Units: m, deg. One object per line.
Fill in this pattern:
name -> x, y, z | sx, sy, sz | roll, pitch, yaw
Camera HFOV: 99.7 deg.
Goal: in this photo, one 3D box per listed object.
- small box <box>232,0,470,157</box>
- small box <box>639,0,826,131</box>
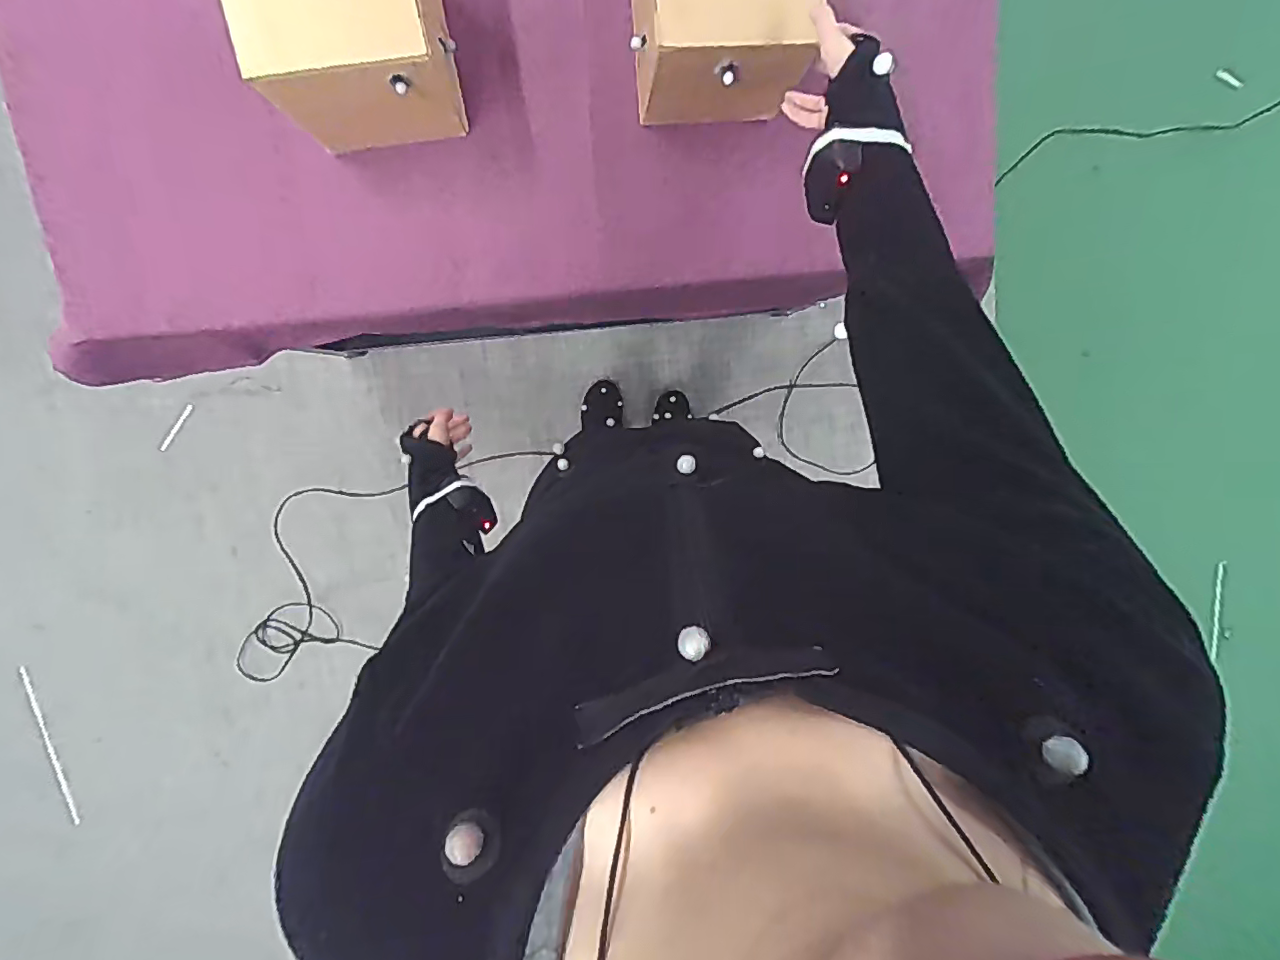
small box -> -0.301, -0.476, 0.582 | 0.179, 0.176, 0.168 | -11, 100, -5
small box -> 0.091, -0.520, 0.610 | 0.179, 0.176, 0.168 | -5, 100, -5
